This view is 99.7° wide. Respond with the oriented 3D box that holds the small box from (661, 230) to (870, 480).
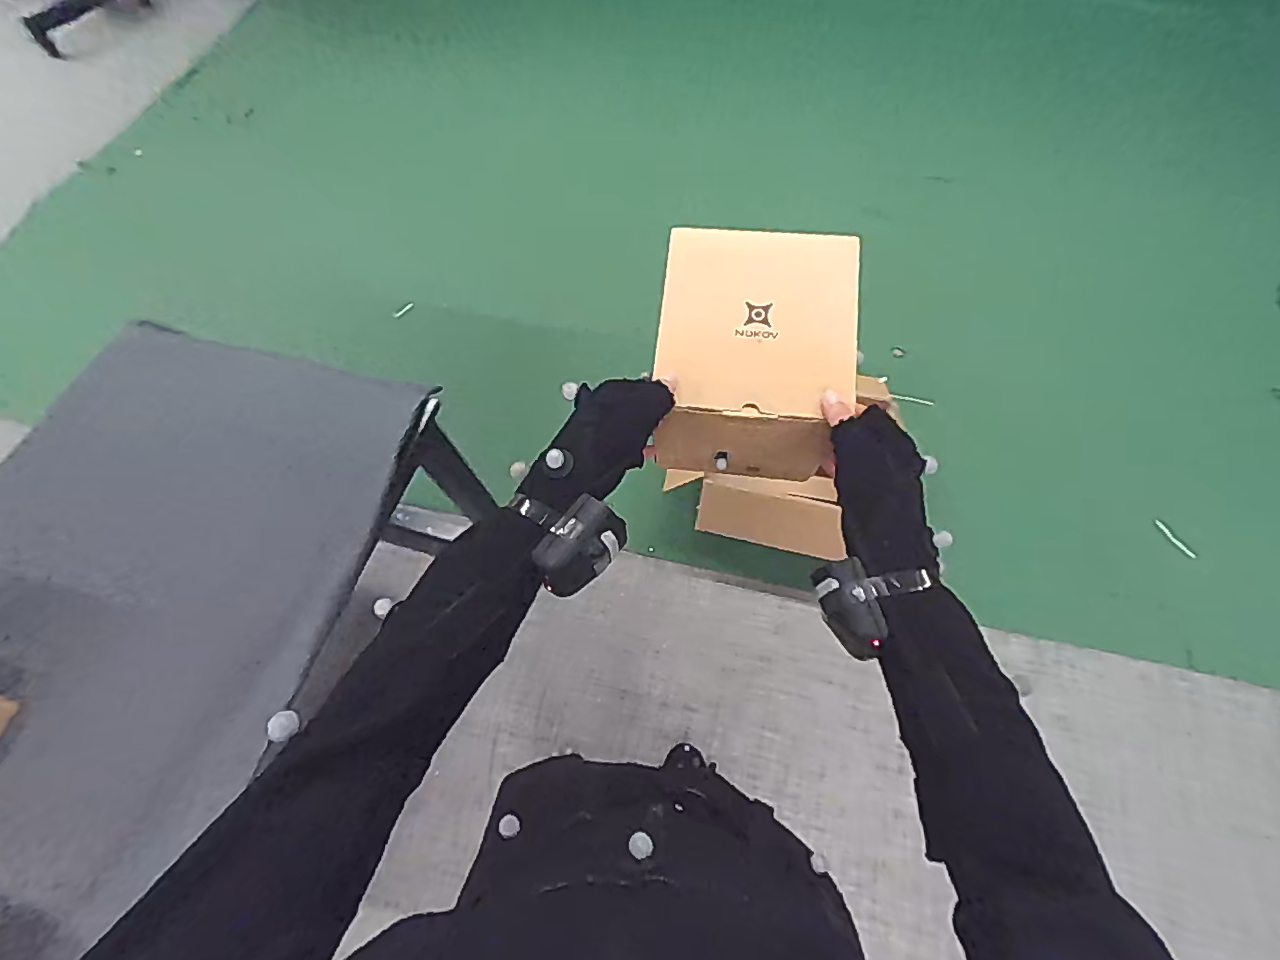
[{"bbox_3d":[0.113,-0.112,0.533,0.168,0.176,0.179,6,76,6],"label":"small box"}]
